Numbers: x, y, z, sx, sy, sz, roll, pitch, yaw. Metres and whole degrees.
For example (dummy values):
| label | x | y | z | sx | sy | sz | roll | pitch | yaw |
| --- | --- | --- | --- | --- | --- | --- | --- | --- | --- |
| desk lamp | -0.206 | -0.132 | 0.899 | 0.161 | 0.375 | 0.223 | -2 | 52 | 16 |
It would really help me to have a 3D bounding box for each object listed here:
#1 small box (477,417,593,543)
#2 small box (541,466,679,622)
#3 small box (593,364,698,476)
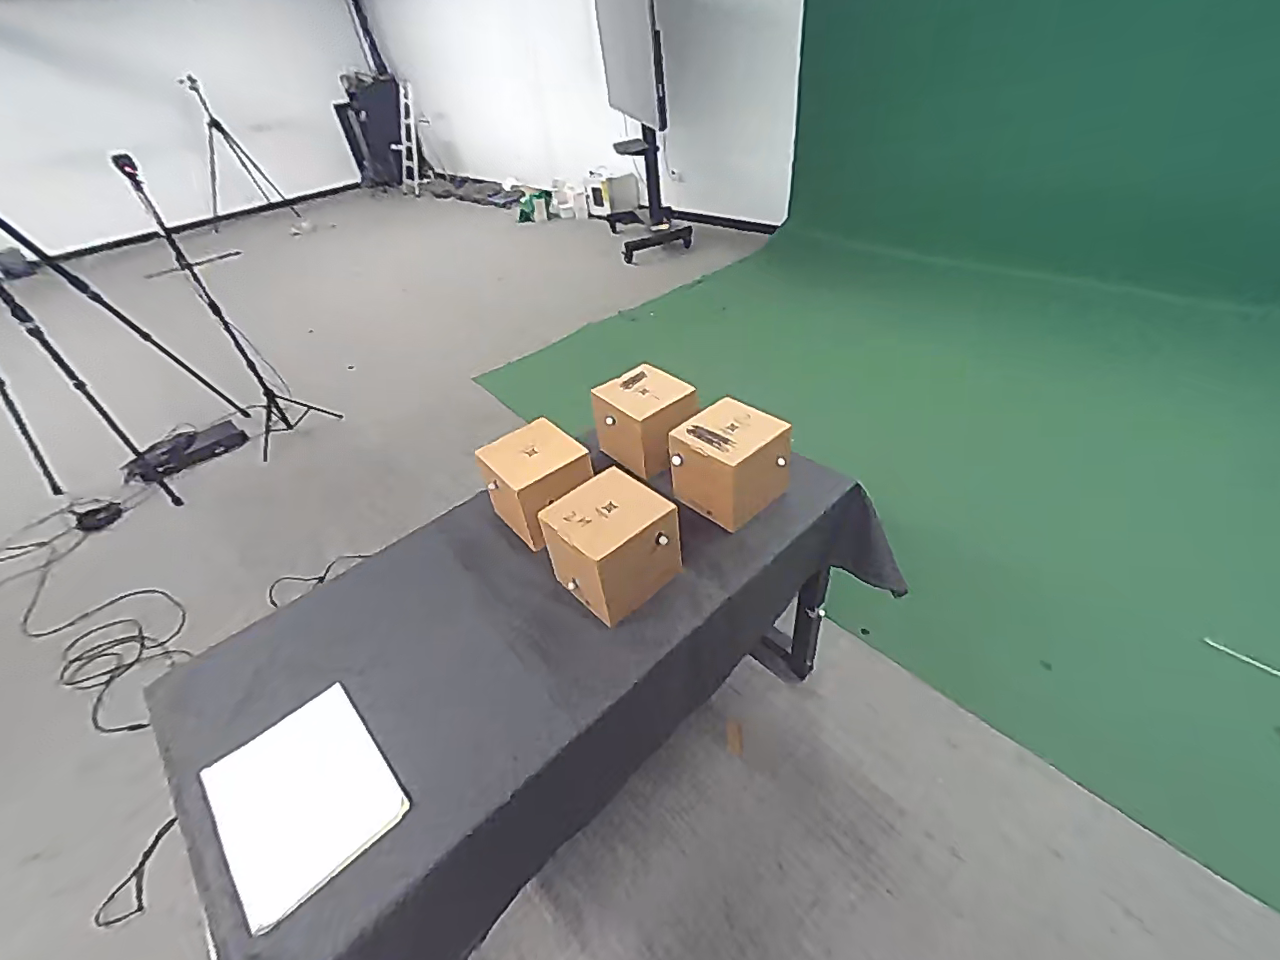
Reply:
| label | x | y | z | sx | sy | sz | roll | pitch | yaw |
| --- | --- | --- | --- | --- | --- | --- | --- | --- | --- |
| small box | -0.202 | 0.004 | 1.108 | 0.168 | 0.176 | 0.179 | -31 | 45 | -26 |
| small box | -0.045 | 0.110 | 0.952 | 0.179 | 0.176 | 0.168 | -34 | 45 | -27 |
| small box | 0.016 | -0.137 | 1.236 | 0.168 | 0.176 | 0.179 | -32 | 46 | -26 |
